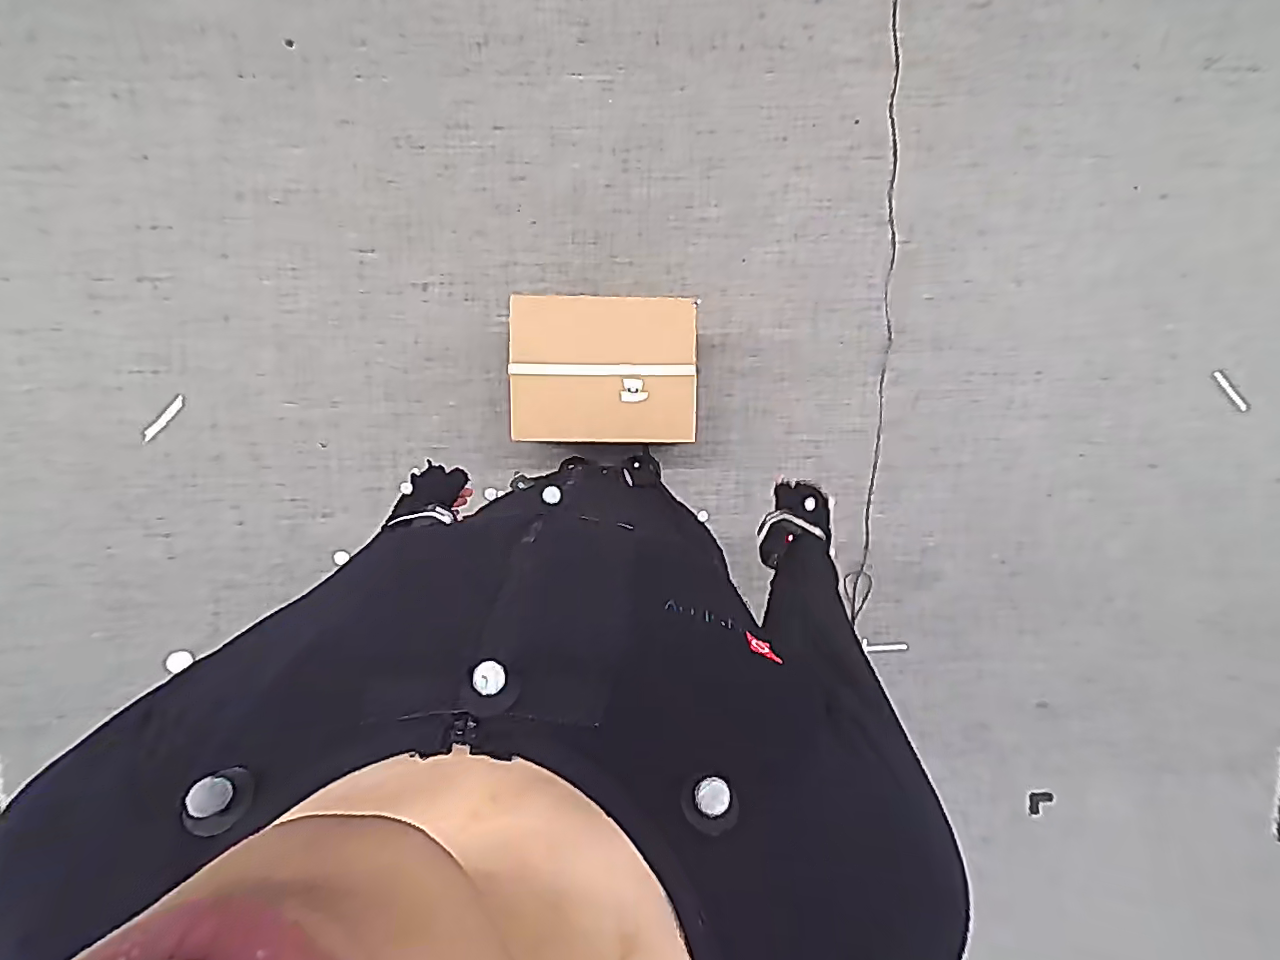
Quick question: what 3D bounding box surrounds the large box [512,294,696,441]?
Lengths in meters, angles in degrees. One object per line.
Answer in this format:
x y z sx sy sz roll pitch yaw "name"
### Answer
-0.083 -0.256 1.329 0.408 0.320 0.320 0 94 -2 "large box"
